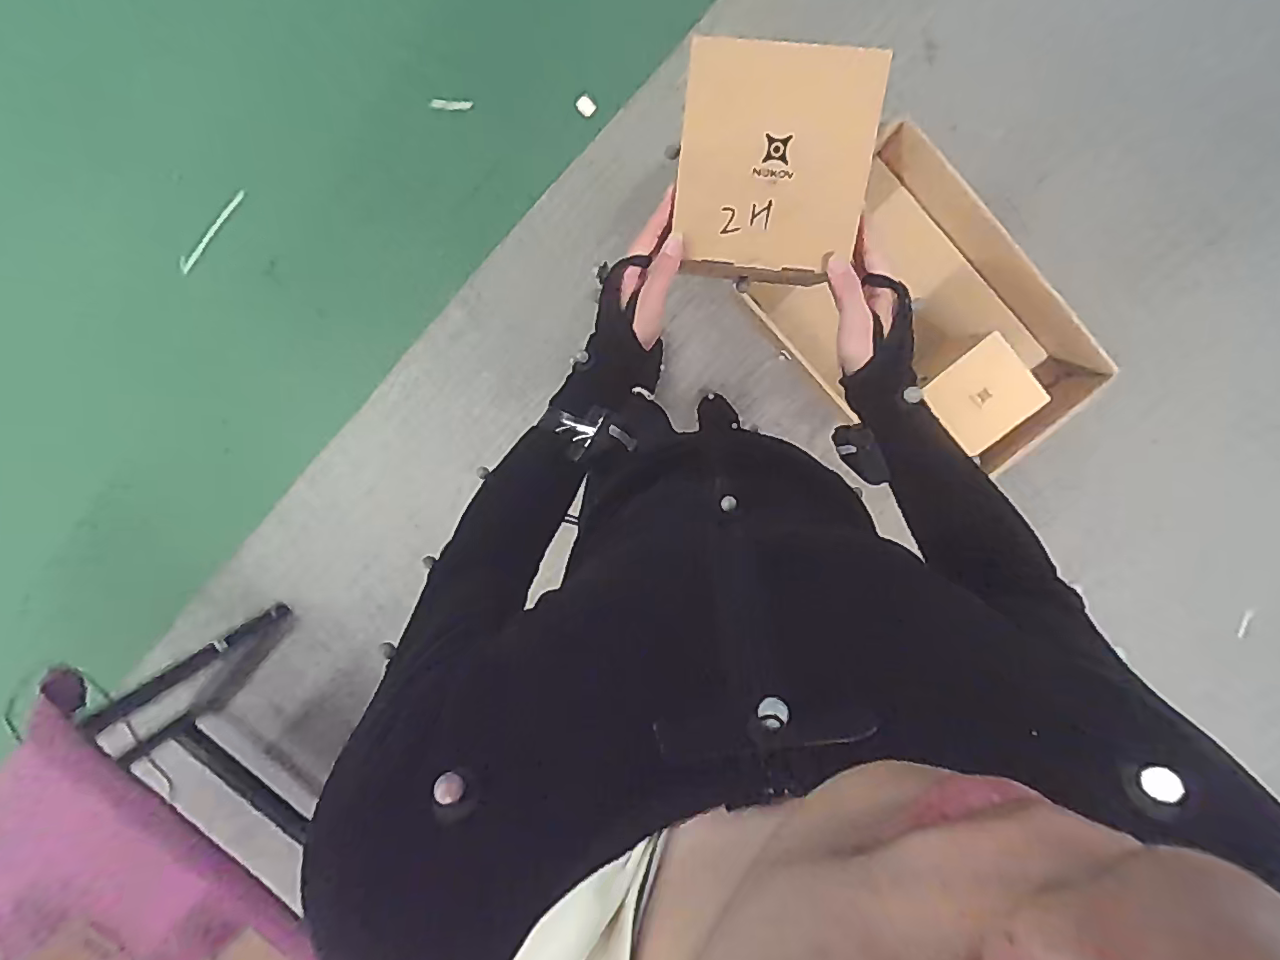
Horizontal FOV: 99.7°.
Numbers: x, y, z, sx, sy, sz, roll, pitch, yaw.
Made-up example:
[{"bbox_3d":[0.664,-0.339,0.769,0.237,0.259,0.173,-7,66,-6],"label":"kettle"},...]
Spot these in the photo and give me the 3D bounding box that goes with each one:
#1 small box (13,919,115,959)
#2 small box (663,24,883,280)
[{"bbox_3d":[-1.280,1.093,1.137,0.168,0.176,0.179,43,100,-5],"label":"small box"},{"bbox_3d":[0.115,-0.305,0.541,0.168,0.176,0.179,7,108,3],"label":"small box"}]
